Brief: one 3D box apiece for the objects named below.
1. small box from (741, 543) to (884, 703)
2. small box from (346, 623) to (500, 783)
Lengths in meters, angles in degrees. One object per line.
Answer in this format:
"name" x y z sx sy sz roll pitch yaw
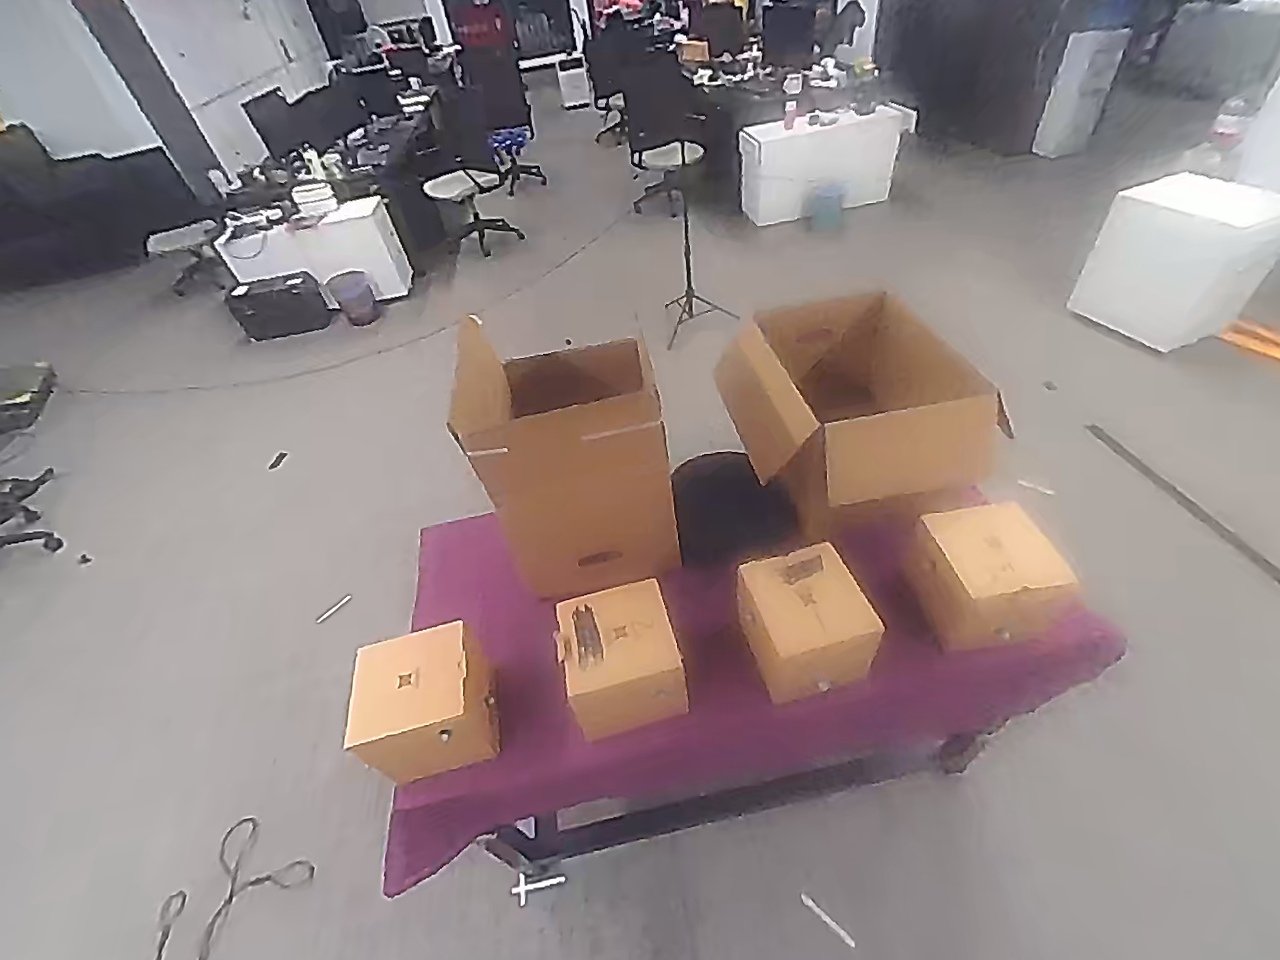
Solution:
"small box" 0.272 0.239 0.902 0.168 0.176 0.179 -15 45 -4
"small box" -0.343 0.368 0.885 0.179 0.176 0.168 -14 44 -6
